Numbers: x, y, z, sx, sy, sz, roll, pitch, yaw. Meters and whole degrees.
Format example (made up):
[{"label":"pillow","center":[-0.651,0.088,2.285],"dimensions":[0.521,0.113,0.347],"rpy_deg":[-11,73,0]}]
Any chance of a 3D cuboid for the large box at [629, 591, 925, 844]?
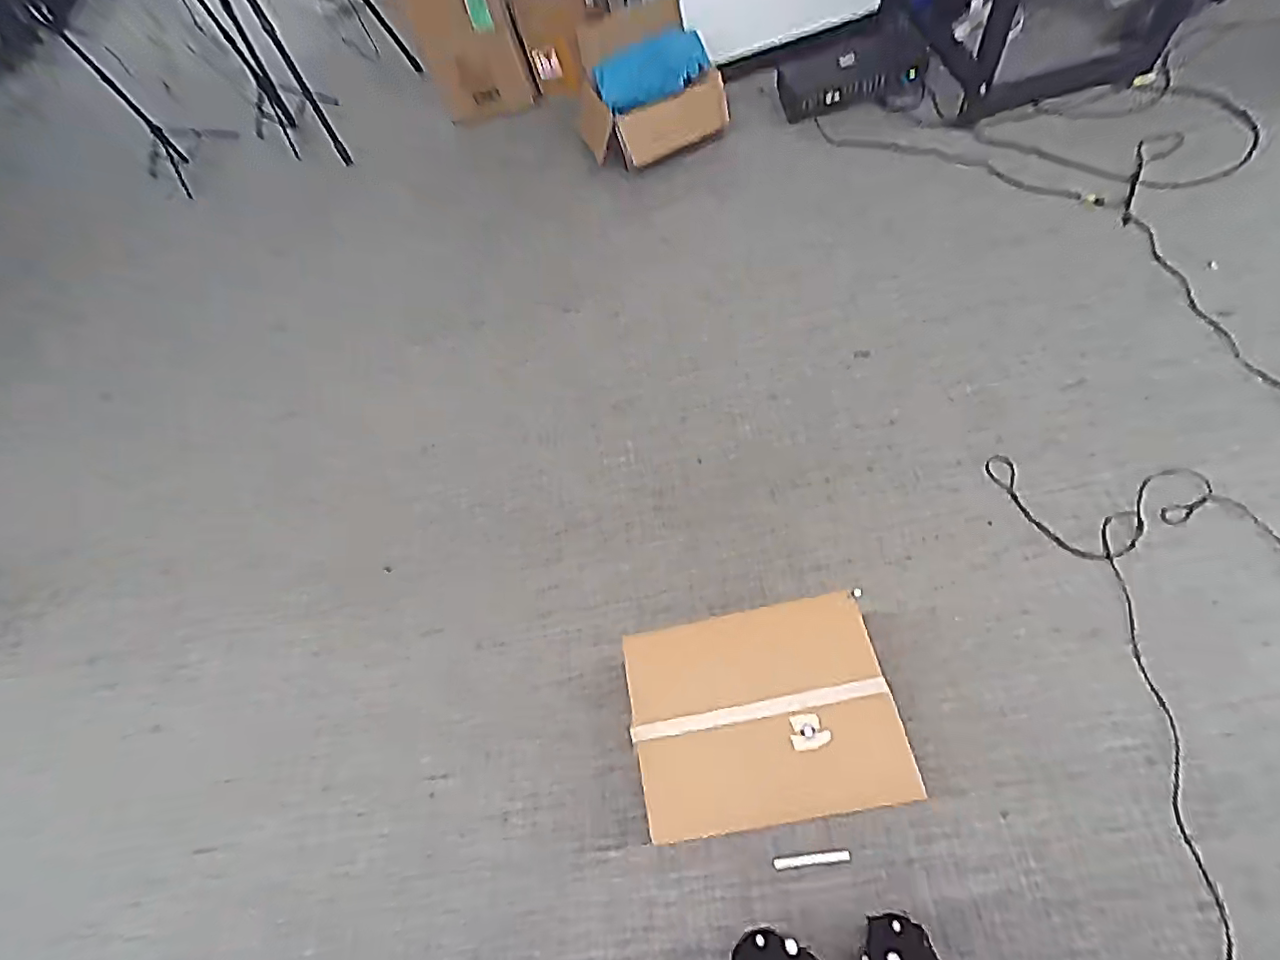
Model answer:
[{"label":"large box","center":[0.225,0.438,0.996],"dimensions":[0.408,0.320,0.320],"rpy_deg":[-14,61,5]}]
